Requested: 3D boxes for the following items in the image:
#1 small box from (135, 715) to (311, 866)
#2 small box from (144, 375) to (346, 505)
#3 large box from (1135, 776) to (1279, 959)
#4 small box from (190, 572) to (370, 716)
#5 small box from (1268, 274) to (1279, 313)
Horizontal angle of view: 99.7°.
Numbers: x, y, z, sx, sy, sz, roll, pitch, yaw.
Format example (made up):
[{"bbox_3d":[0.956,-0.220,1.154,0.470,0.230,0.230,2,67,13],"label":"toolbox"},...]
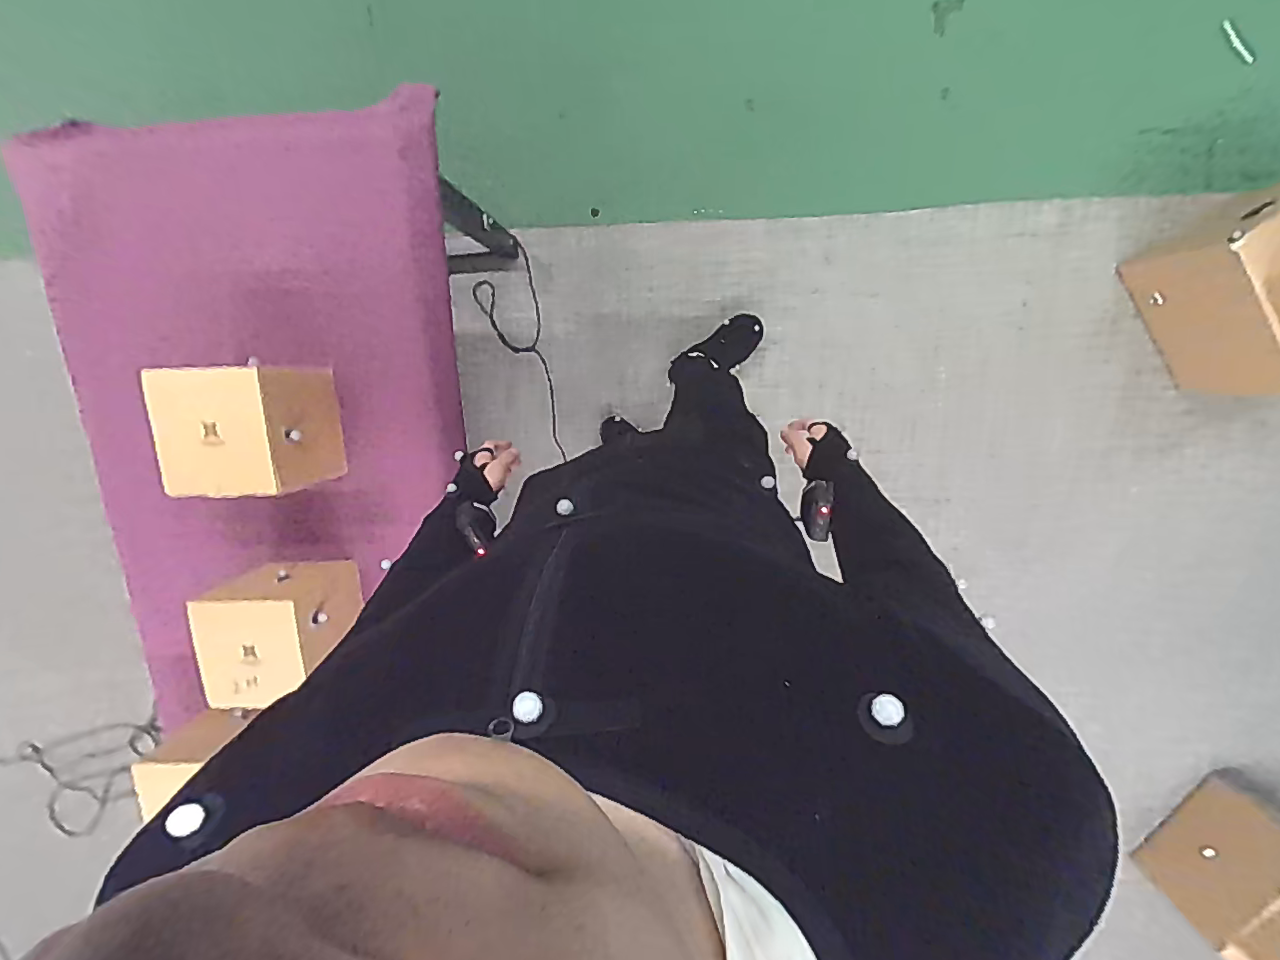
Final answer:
[{"bbox_3d":[-0.707,0.526,0.940,0.168,0.176,0.179,-2,101,3],"label":"small box"},{"bbox_3d":[-0.576,-0.068,0.814,0.168,0.176,0.179,-1,103,3],"label":"small box"},{"bbox_3d":[1.859,1.210,1.628,0.320,0.320,0.408,29,101,-4],"label":"large box"},{"bbox_3d":[-0.568,0.256,0.878,0.168,0.176,0.179,-1,102,4],"label":"small box"},{"bbox_3d":[1.436,-0.372,1.068,0.168,0.176,0.179,-33,98,9],"label":"small box"}]
